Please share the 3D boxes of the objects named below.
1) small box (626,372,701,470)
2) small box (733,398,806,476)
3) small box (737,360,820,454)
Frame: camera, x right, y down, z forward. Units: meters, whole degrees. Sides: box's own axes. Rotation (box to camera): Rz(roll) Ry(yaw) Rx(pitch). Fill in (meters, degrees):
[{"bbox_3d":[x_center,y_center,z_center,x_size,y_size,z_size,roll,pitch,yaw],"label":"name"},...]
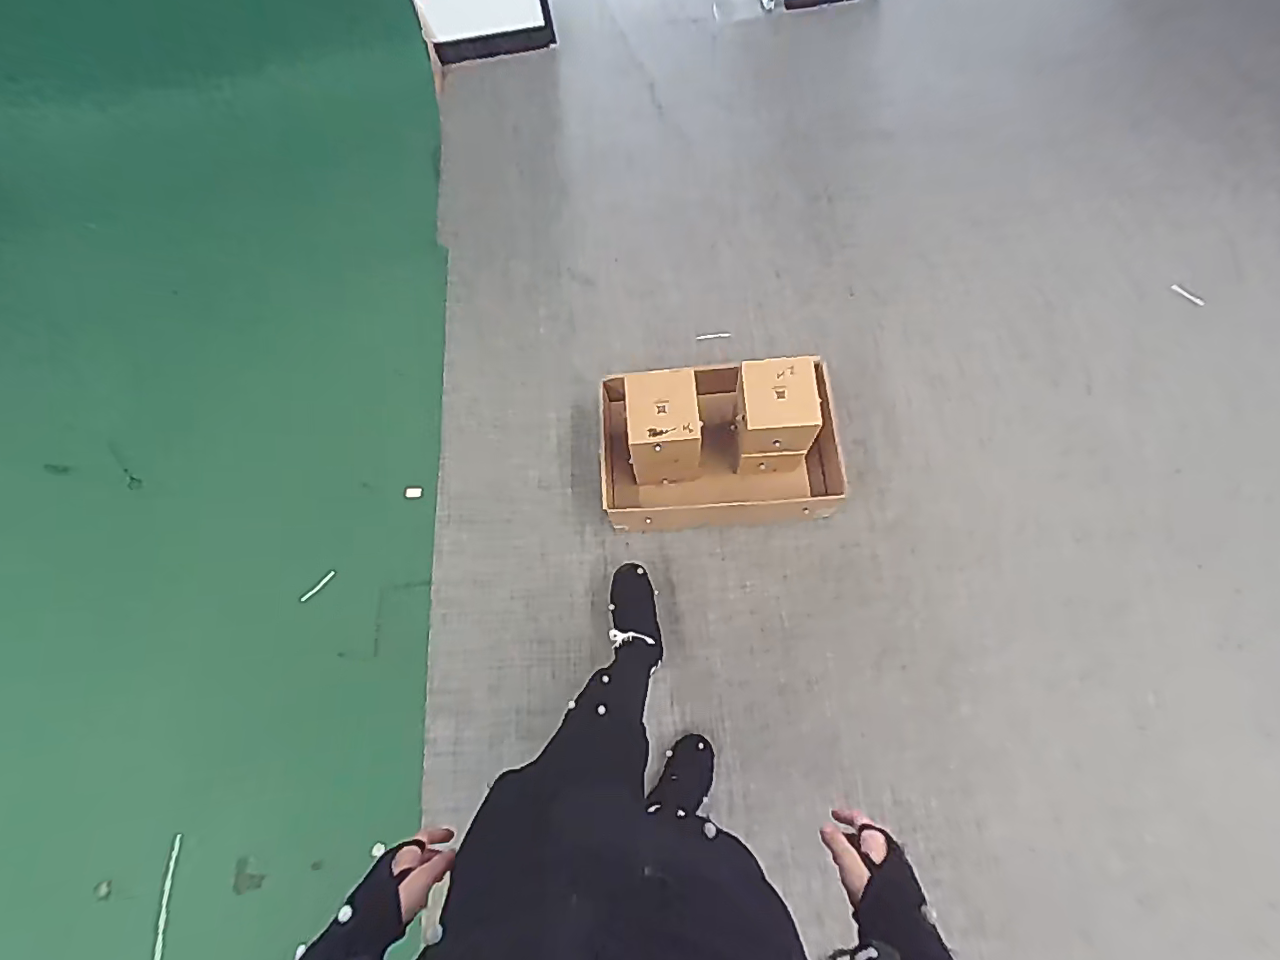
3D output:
[{"bbox_3d":[0.057,-0.138,1.311,0.168,0.176,0.179,-5,72,3],"label":"small box"},{"bbox_3d":[0.341,-0.113,1.454,0.168,0.176,0.179,-3,72,5],"label":"small box"},{"bbox_3d":[0.326,-0.167,1.299,0.168,0.176,0.179,-3,72,5],"label":"small box"}]
